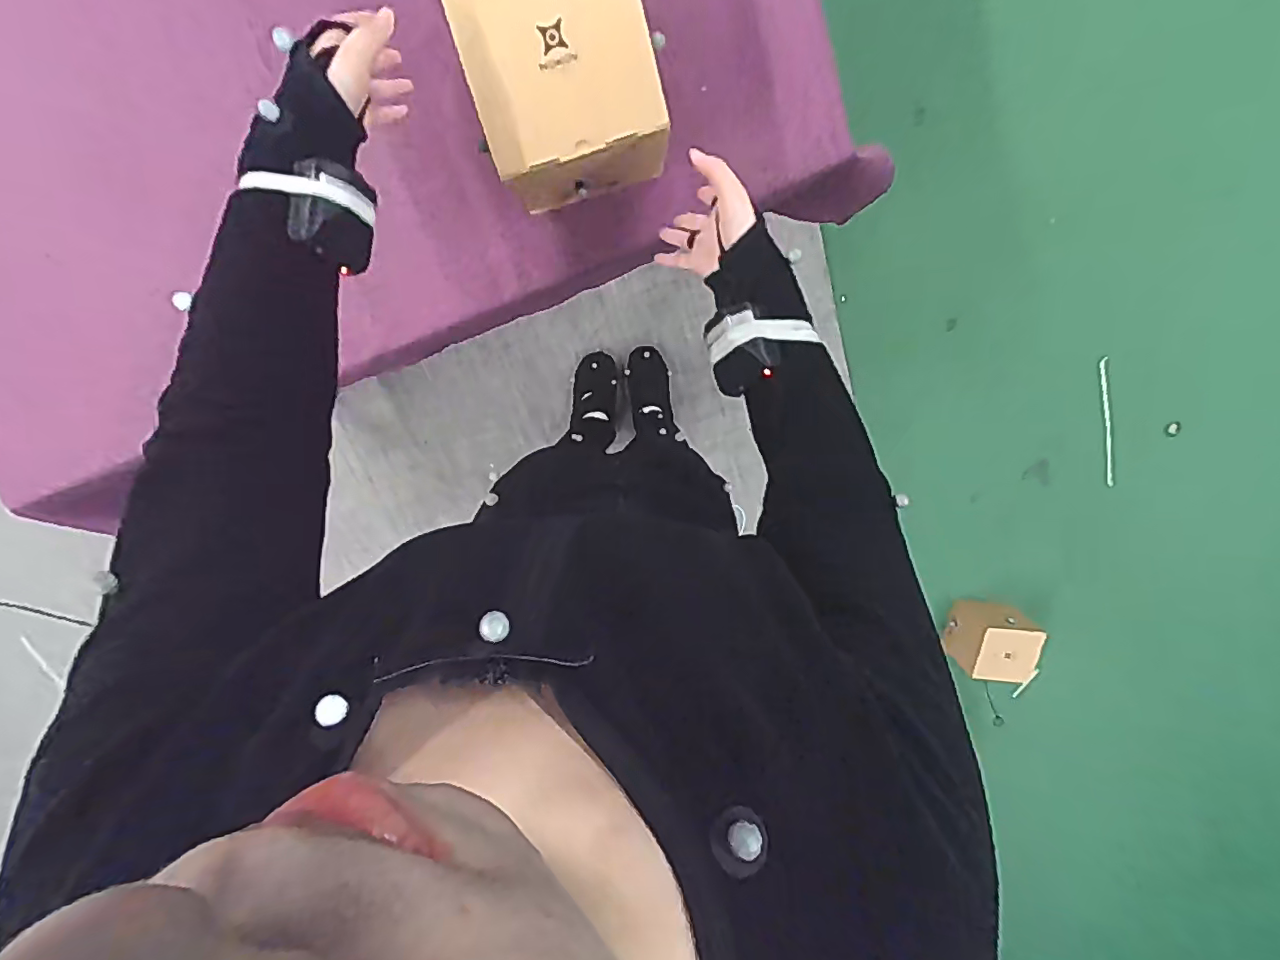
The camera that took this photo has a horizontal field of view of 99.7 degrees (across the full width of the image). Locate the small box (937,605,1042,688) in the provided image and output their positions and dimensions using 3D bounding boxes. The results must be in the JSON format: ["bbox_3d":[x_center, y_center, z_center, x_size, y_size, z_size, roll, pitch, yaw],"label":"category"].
[{"bbox_3d":[1.018,0.484,1.589,0.179,0.176,0.168,6,106,-3],"label":"small box"}]

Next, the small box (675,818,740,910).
[{"bbox_3d":[0.217,1.269,1.793,0.179,0.176,0.168,-17,107,3],"label":"small box"}]

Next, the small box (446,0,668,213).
[{"bbox_3d":[-0.076,-0.399,0.552,0.168,0.176,0.179,-15,106,3],"label":"small box"}]
